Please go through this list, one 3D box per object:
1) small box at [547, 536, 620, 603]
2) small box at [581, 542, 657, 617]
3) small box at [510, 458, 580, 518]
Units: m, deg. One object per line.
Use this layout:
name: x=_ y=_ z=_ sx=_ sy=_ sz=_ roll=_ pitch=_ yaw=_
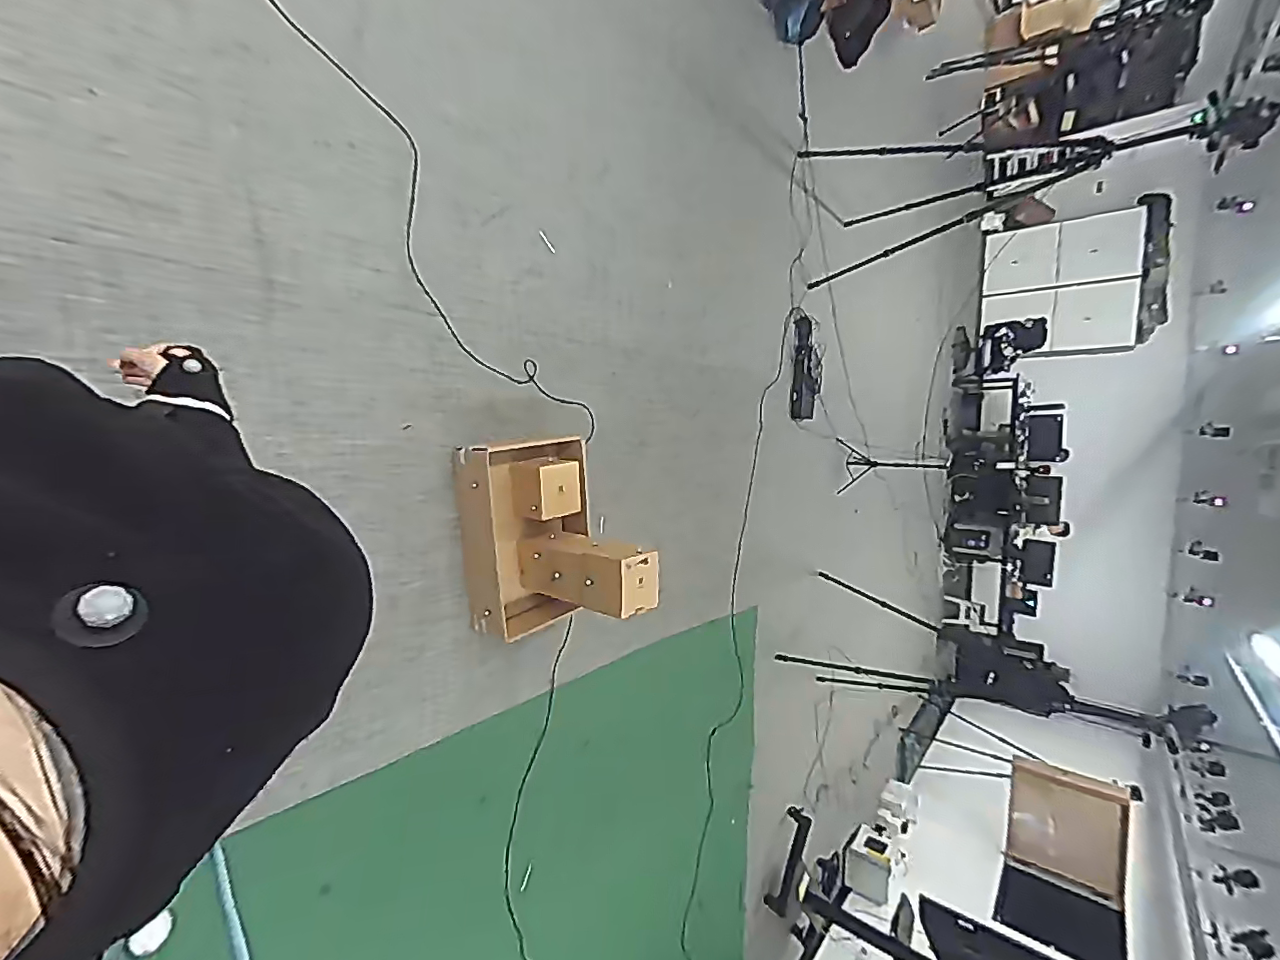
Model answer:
small box: x=-0.182 y=0.284 z=1.764 sx=0.179 sy=0.176 sz=0.168 roll=-11 pitch=101 yaw=-48
small box: x=-0.066 y=0.295 z=1.646 sx=0.168 sy=0.176 sz=0.179 roll=-5 pitch=97 yaw=-49
small box: x=-0.322 y=0.020 z=1.824 sx=0.168 sy=0.176 sz=0.179 roll=-13 pitch=105 yaw=-47
